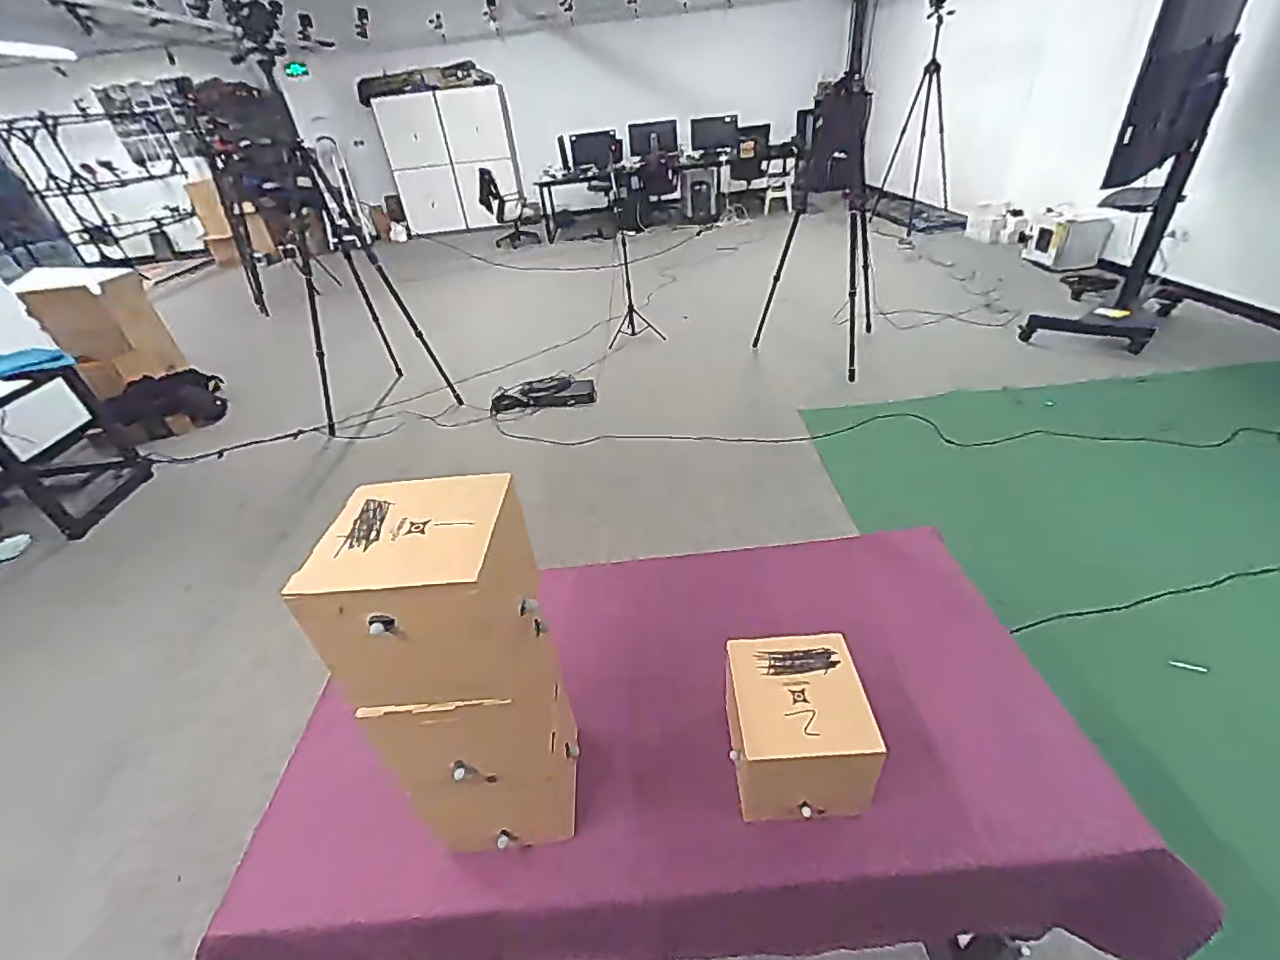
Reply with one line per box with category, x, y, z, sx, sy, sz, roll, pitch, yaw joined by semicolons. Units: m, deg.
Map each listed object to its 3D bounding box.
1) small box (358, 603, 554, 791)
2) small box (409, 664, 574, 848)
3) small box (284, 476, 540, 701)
small box;-0.206;0.249;0.666;0.168;0.176;0.179;-6;36;1
small box;-0.190;0.386;0.758;0.179;0.176;0.168;-6;35;-1
small box;-0.216;0.115;0.572;0.179;0.176;0.168;-4;35;2
